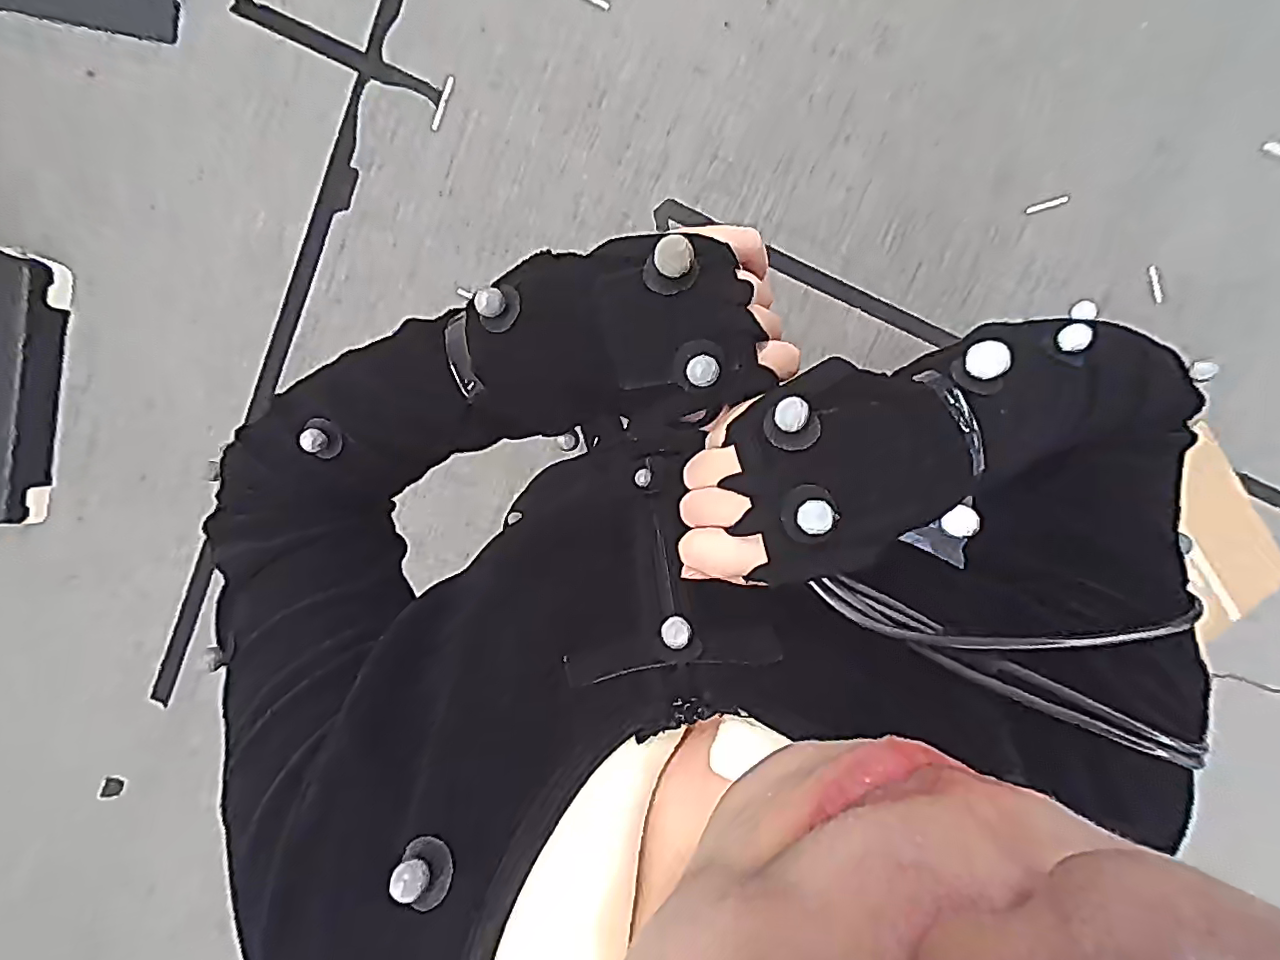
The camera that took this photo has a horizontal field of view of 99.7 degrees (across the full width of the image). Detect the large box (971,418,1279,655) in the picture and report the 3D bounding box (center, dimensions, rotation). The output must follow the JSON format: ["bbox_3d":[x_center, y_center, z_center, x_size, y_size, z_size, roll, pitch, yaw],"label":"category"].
[{"bbox_3d":[1.078,0.105,1.243,0.320,0.320,0.408,-37,98,1],"label":"large box"}]
